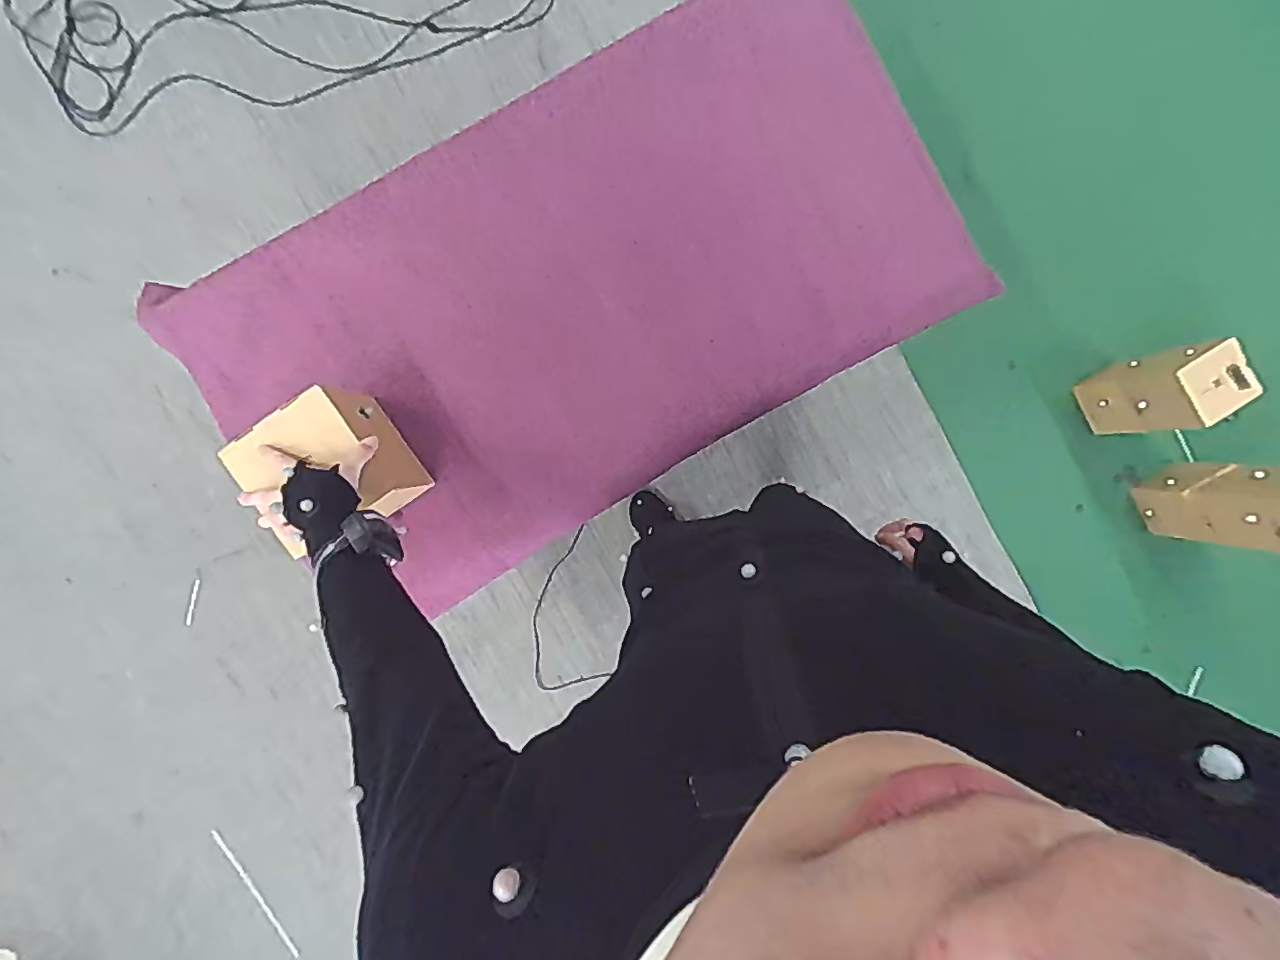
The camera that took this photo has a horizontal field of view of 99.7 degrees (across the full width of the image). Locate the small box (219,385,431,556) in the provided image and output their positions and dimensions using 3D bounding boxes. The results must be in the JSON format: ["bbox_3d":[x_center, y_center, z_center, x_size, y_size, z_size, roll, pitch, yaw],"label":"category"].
[{"bbox_3d":[-0.445,-0.015,0.795,0.168,0.176,0.179,-34,94,0],"label":"small box"}]

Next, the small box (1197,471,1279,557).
[{"bbox_3d":[1.659,0.083,1.430,0.179,0.176,0.168,-26,93,-1],"label":"small box"}]

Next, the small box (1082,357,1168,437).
[{"bbox_3d":[1.446,-0.236,1.576,0.179,0.176,0.168,-28,93,-1],"label":"small box"}]

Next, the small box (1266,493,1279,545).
[{"bbox_3d":[1.660,0.091,1.265,0.179,0.176,0.168,-25,93,0],"label":"small box"}]

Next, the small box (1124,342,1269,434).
[{"bbox_3d":[1.441,-0.234,1.411,0.179,0.176,0.168,-31,92,0],"label":"small box"}]
